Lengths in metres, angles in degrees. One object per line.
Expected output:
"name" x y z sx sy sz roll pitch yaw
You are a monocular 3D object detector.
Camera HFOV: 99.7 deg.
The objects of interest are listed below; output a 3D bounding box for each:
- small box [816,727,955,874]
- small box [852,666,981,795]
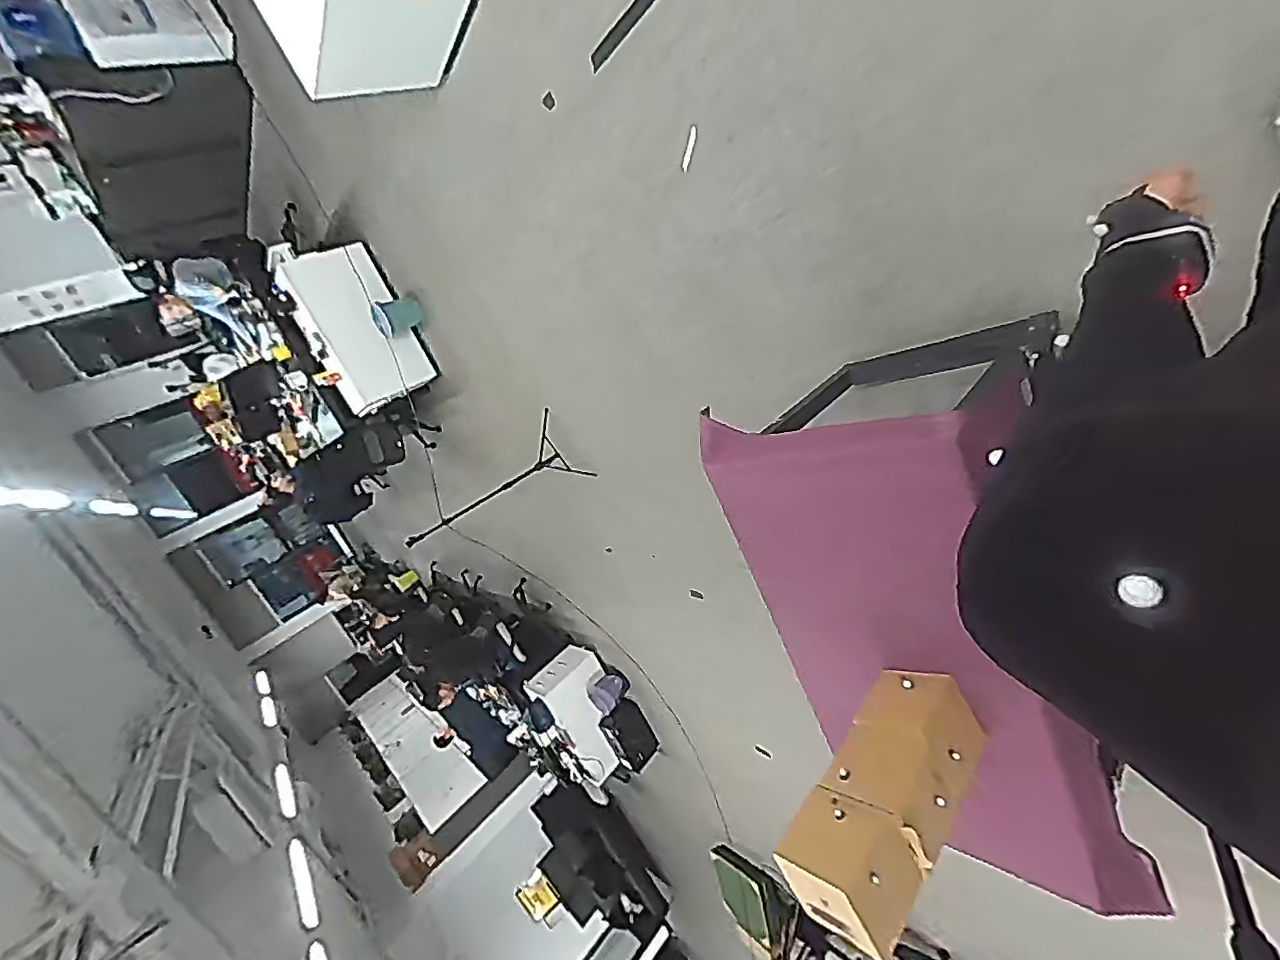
"small box" 0.504 0.640 1.109 0.179 0.176 0.168 -13 110 55
"small box" 0.610 0.539 1.188 0.179 0.176 0.168 58 146 -6
